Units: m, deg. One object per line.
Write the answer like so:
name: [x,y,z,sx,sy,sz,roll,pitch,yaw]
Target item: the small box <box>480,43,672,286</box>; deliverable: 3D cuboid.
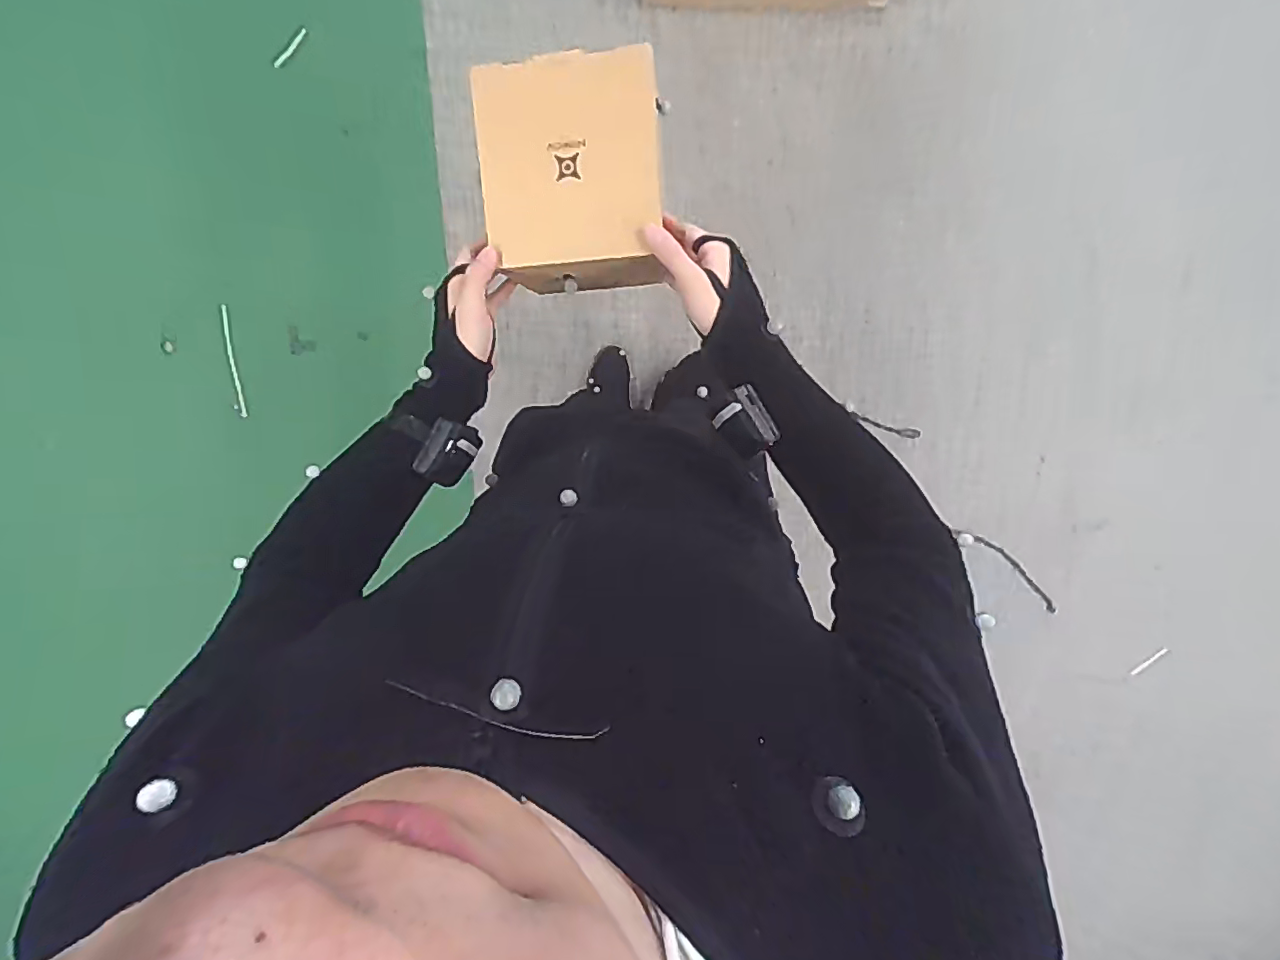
small box: [-0.053,-0.310,0.575,0.168,0.176,0.179,-3,100,5]
